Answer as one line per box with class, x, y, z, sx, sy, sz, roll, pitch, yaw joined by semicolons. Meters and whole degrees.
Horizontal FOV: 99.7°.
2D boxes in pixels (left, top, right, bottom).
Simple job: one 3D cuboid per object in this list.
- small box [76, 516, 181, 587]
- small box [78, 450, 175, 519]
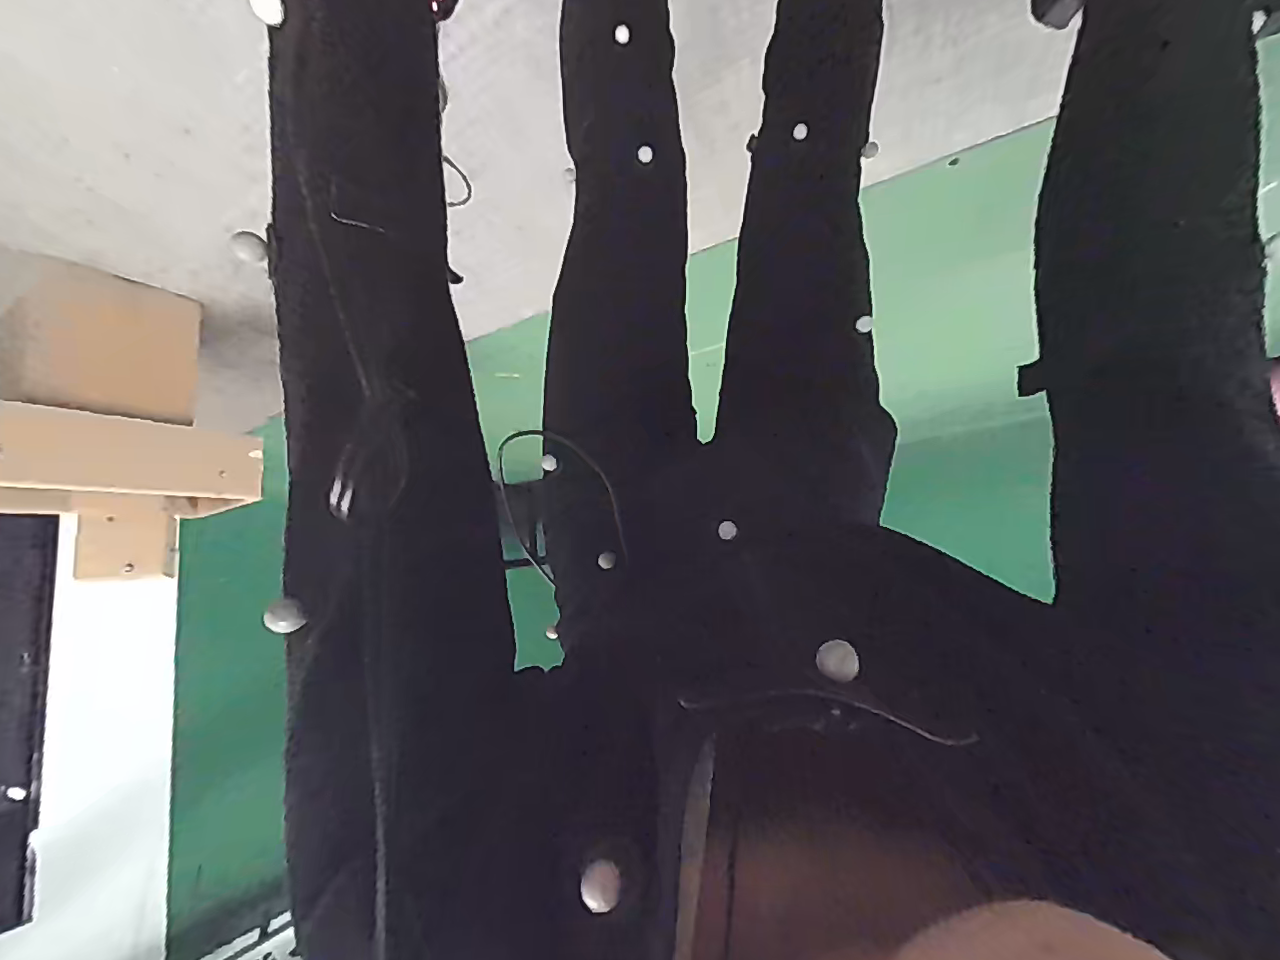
small box;-1.312;0.185;1.399;0.168;0.176;0.179;0;168;-32
small box;-1.334;0.022;1.414;0.168;0.176;0.179;3;167;-37
